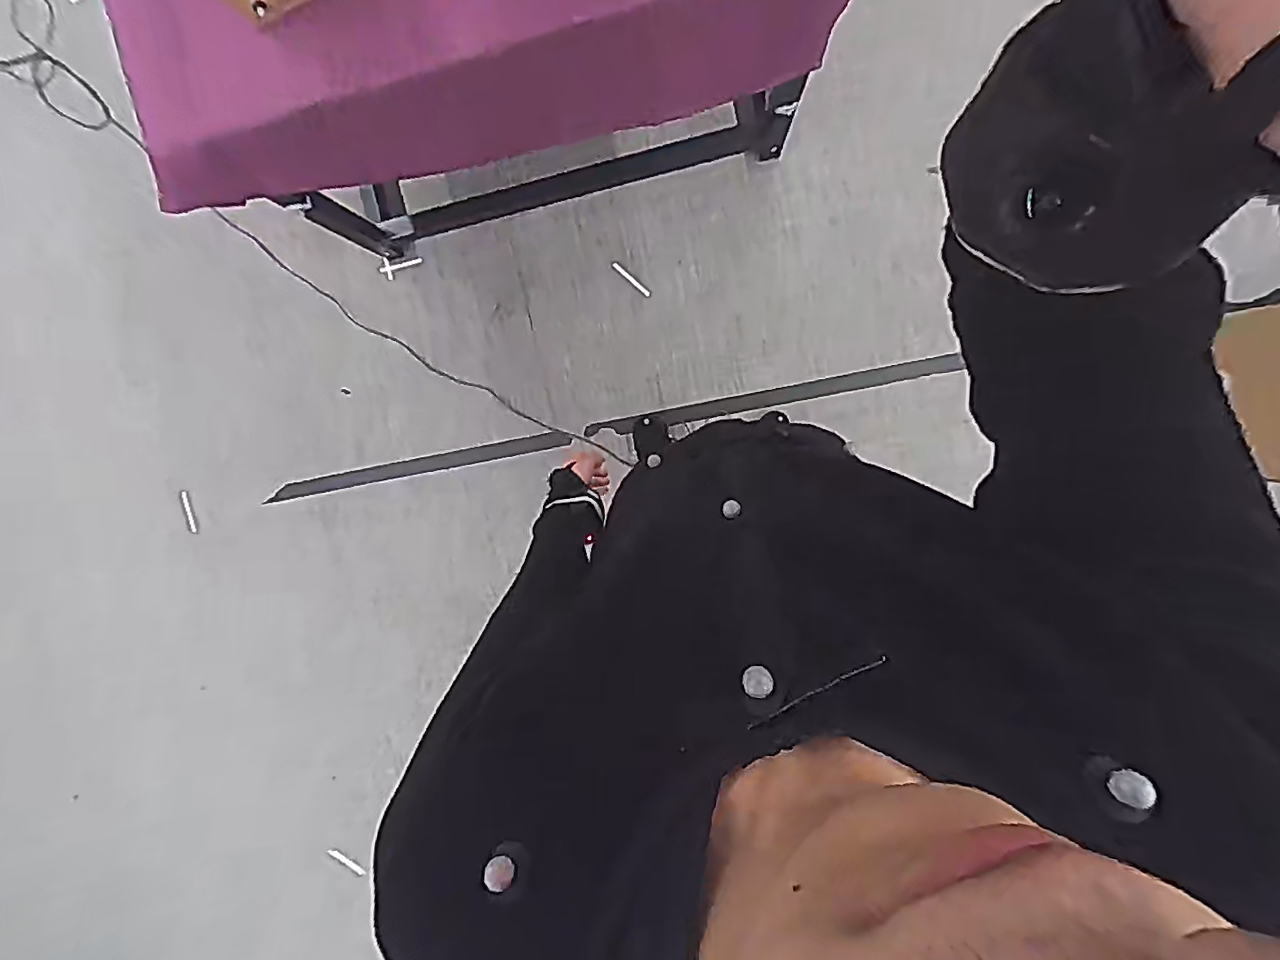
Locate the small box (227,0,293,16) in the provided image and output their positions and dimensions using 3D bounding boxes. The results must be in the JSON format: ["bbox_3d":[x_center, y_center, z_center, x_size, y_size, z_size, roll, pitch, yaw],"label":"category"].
[{"bbox_3d":[-0.580,-0.819,0.768,0.168,0.176,0.179,-21,94,7],"label":"small box"}]
